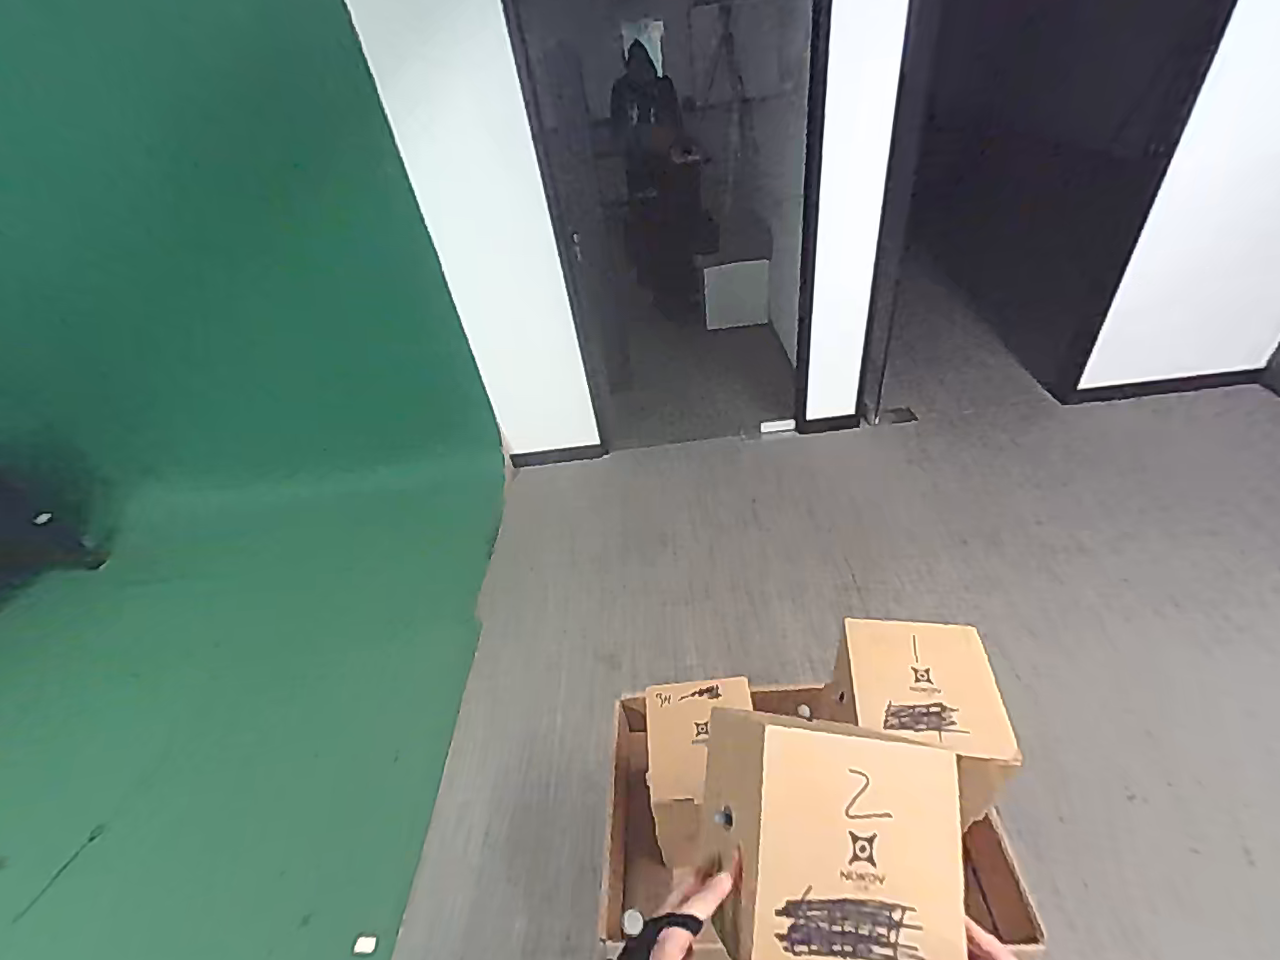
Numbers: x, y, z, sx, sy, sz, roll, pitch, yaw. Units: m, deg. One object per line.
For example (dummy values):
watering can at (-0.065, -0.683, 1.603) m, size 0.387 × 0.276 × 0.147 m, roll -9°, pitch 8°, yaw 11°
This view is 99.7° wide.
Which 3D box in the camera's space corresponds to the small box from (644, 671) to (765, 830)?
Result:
small box at (0.099, 0.427, 0.847) m, size 0.168 × 0.176 × 0.179 m, roll -6°, pitch 40°, yaw 3°

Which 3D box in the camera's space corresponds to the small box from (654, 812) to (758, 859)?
small box at (0.111, 0.543, 0.963) m, size 0.168 × 0.176 × 0.179 m, roll -7°, pitch 40°, yaw 4°

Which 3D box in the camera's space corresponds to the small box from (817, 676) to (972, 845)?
small box at (0.363, 0.419, 0.808) m, size 0.168 × 0.176 × 0.179 m, roll 0°, pitch 40°, yaw 10°

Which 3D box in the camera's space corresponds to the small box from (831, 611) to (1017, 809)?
small box at (0.347, 0.296, 0.701) m, size 0.168 × 0.176 × 0.179 m, roll 2°, pitch 40°, yaw 12°
